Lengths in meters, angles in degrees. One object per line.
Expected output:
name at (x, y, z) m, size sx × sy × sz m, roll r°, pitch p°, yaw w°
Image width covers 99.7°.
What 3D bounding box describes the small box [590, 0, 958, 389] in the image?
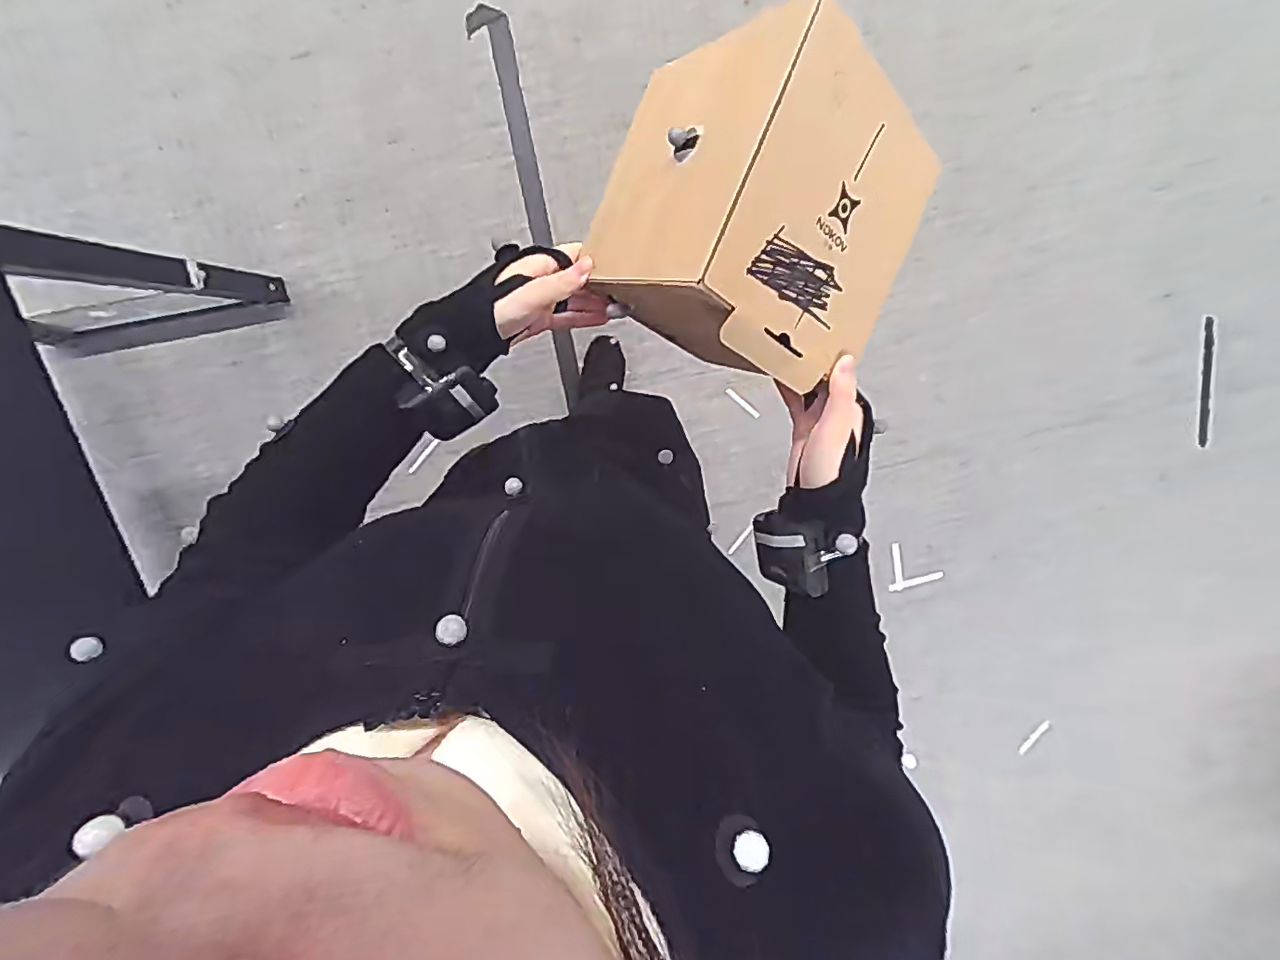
small box at (0.086, -0.190, 0.399) m, size 0.168 × 0.176 × 0.179 m, roll 20°, pitch 95°, yaw -39°
